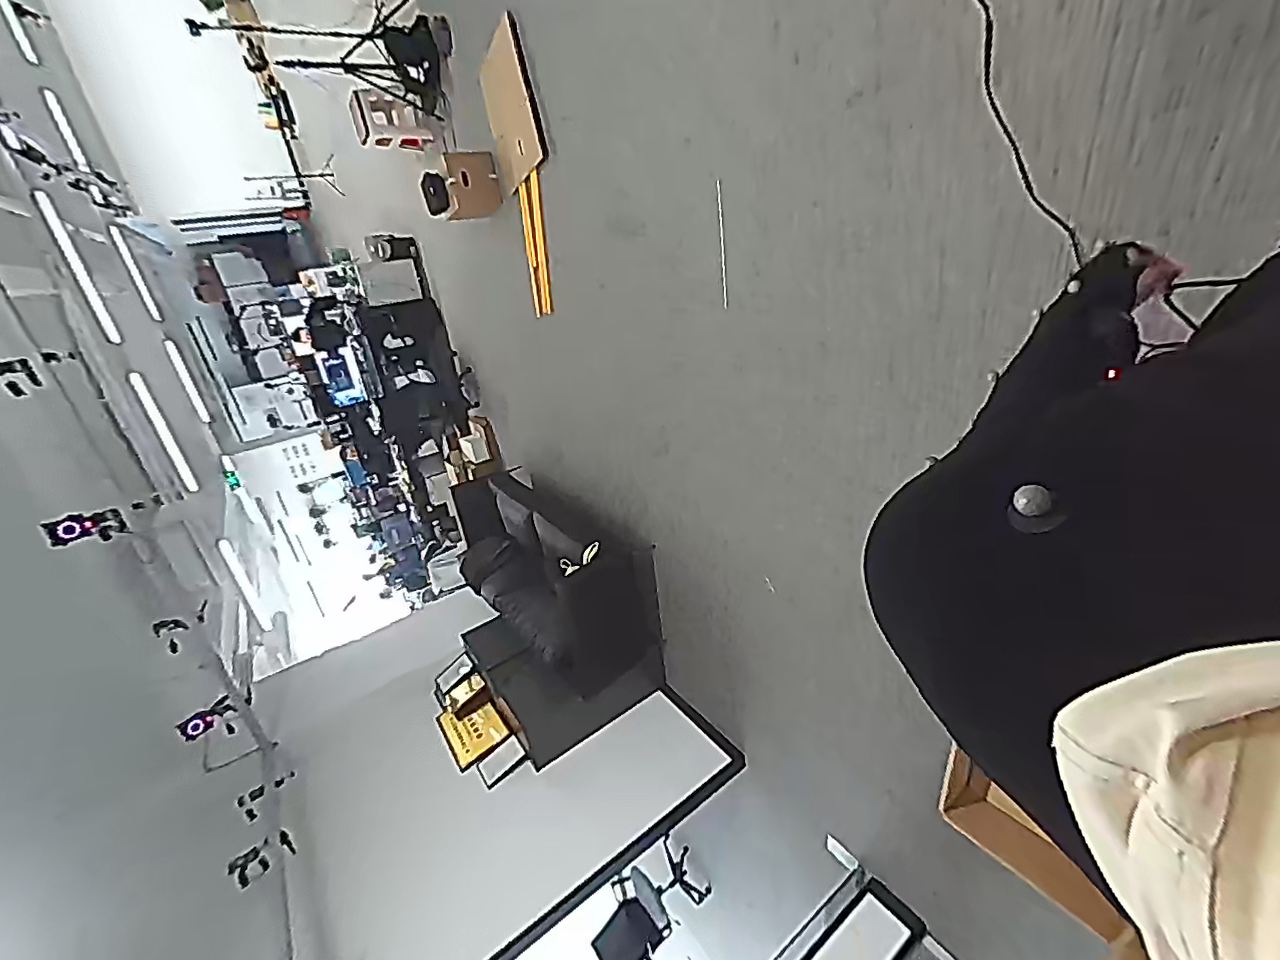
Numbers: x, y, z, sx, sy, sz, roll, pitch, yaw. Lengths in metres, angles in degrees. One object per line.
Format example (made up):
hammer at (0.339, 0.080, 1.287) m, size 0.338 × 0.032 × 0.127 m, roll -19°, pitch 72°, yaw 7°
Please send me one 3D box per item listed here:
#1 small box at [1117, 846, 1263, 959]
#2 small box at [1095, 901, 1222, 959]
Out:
small box at (1.126, 0.917, 1.116) m, size 0.168 × 0.176 × 0.179 m, roll 27°, pitch 132°, yaw 48°
small box at (0.994, 0.974, 1.036) m, size 0.168 × 0.176 × 0.179 m, roll 30°, pitch 134°, yaw 45°
